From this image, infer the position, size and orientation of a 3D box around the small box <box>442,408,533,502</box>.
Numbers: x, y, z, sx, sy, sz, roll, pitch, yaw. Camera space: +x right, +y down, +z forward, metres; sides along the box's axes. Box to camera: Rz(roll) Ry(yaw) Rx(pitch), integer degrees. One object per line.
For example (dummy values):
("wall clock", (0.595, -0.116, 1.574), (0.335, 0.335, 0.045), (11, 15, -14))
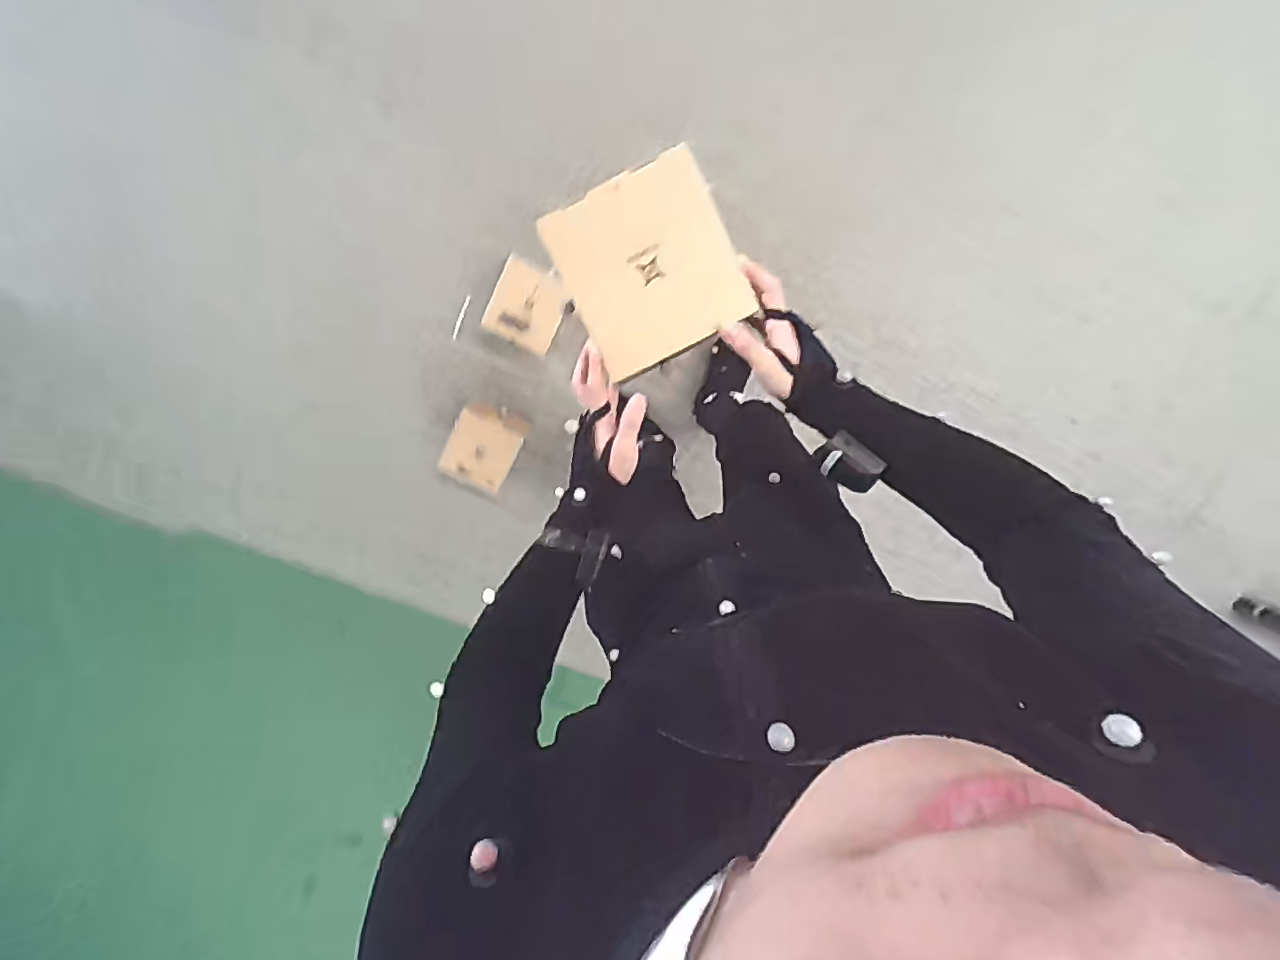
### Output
("small box", (-0.396, -0.073, 1.438), (0.168, 0.176, 0.179), (27, 103, -11))

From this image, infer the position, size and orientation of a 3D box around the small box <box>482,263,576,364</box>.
("small box", (-0.264, -0.409, 1.338), (0.168, 0.176, 0.179), (25, 104, -11))
